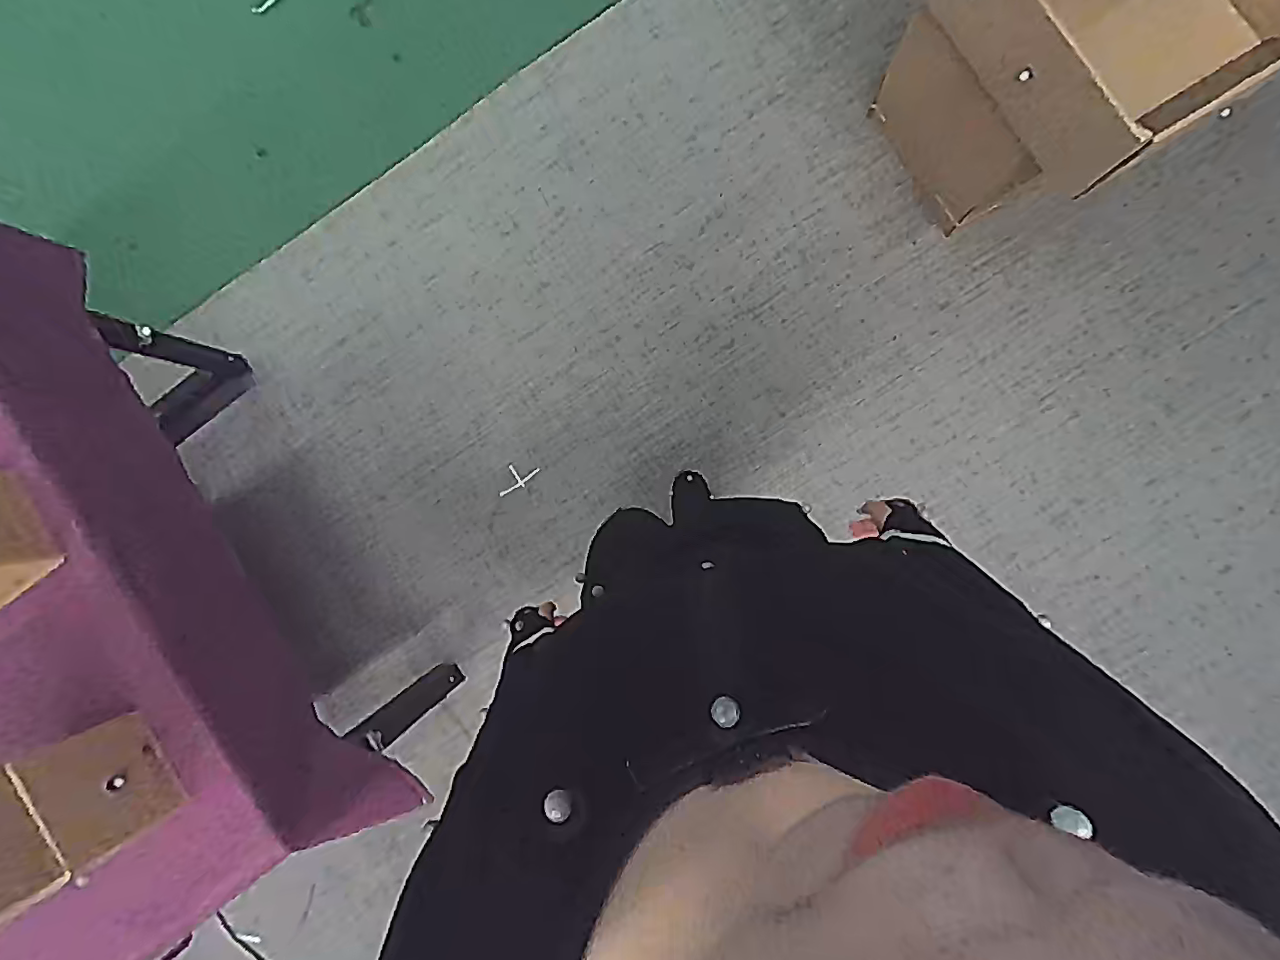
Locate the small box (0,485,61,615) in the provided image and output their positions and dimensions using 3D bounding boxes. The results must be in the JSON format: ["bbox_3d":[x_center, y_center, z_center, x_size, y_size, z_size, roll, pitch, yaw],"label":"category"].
[{"bbox_3d":[-1.025,0.117,0.786,0.168,0.176,0.179,-36,86,4],"label":"small box"}]

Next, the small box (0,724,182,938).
[{"bbox_3d":[-0.803,0.482,0.760,0.179,0.176,0.168,-34,86,4],"label":"small box"}]

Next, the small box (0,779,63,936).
[{"bbox_3d":[-0.822,0.476,0.598,0.168,0.176,0.179,-35,86,3],"label":"small box"}]
